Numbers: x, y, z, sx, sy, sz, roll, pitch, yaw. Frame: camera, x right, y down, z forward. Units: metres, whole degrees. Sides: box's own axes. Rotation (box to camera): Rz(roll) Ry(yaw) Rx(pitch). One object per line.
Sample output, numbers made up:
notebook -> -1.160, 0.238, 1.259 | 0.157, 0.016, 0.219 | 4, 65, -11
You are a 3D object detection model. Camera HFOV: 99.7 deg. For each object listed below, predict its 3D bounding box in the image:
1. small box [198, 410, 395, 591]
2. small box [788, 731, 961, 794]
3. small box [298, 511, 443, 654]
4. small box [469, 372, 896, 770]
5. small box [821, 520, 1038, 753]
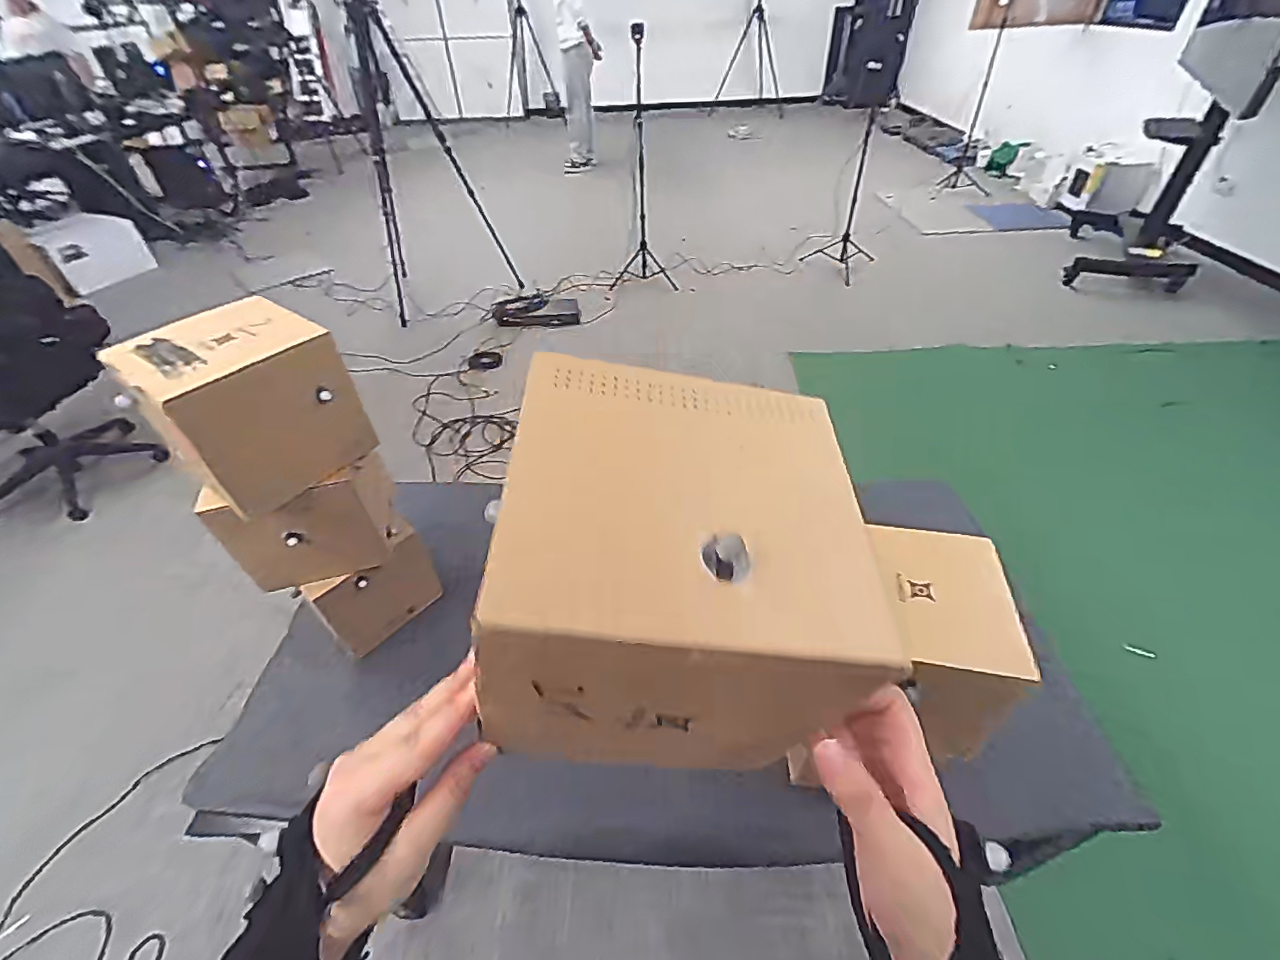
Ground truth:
small box -> -0.461, 0.029, 0.764 | 0.179, 0.176, 0.168 | -14, 45, -11
small box -> 0.278, 0.278, 0.697 | 0.168, 0.176, 0.179 | -1, 42, 3
small box -> -0.455, 0.146, 0.880 | 0.179, 0.176, 0.168 | 30, 52, 30
small box -> 0.005, 0.058, 0.317 | 0.179, 0.168, 0.176 | 8, 49, -9
small box -> 0.271, 0.167, 0.577 | 0.179, 0.176, 0.168 | 6, 42, 11
